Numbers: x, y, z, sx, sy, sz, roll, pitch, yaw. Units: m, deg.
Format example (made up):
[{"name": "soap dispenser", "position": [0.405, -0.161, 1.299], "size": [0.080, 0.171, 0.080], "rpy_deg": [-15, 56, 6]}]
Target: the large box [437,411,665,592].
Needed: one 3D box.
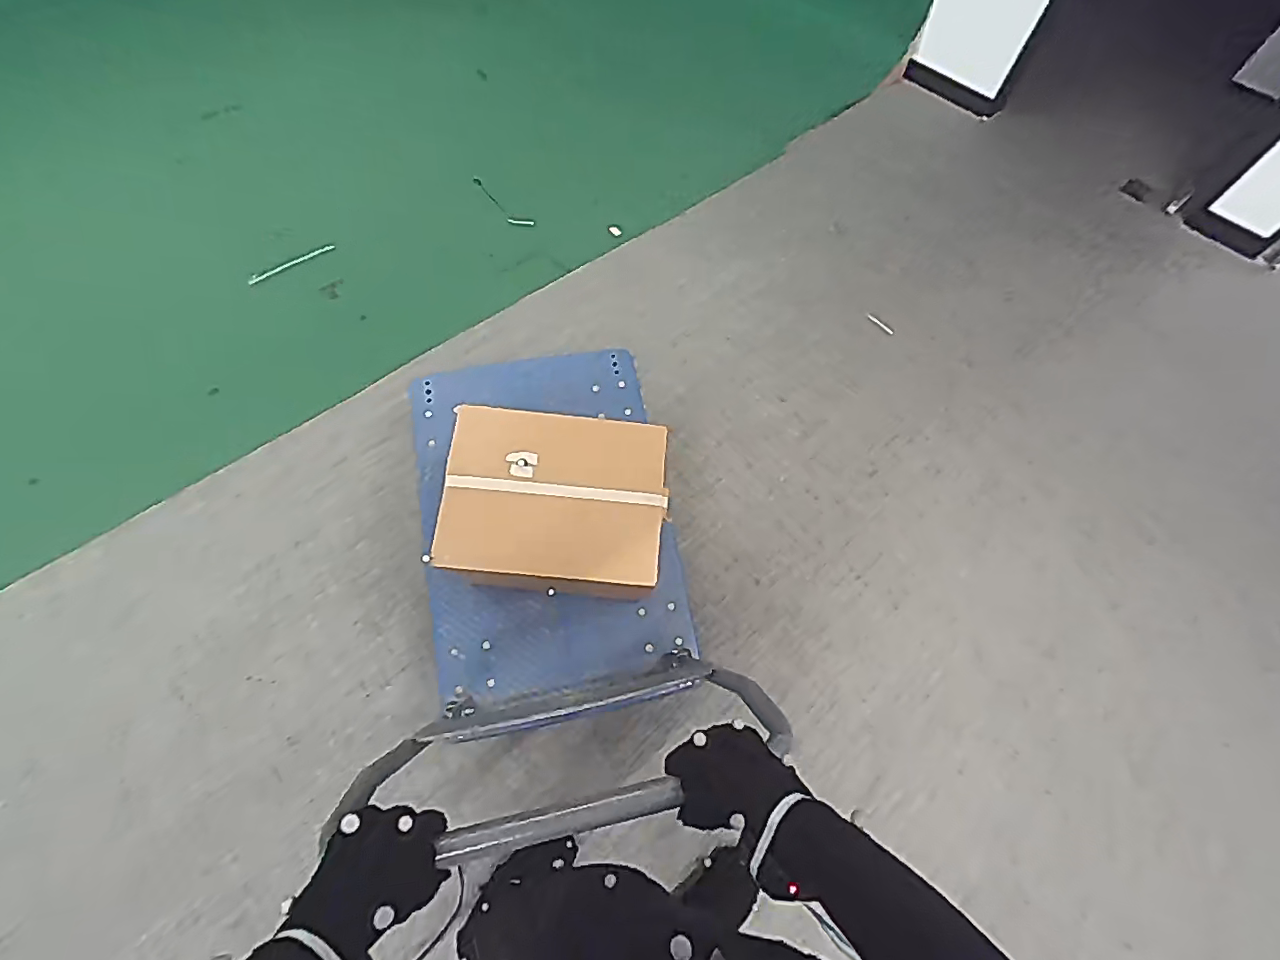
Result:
[{"name": "large box", "position": [-0.160, 0.066, 1.144], "size": [0.408, 0.320, 0.320], "rpy_deg": [4, 73, -2]}]
